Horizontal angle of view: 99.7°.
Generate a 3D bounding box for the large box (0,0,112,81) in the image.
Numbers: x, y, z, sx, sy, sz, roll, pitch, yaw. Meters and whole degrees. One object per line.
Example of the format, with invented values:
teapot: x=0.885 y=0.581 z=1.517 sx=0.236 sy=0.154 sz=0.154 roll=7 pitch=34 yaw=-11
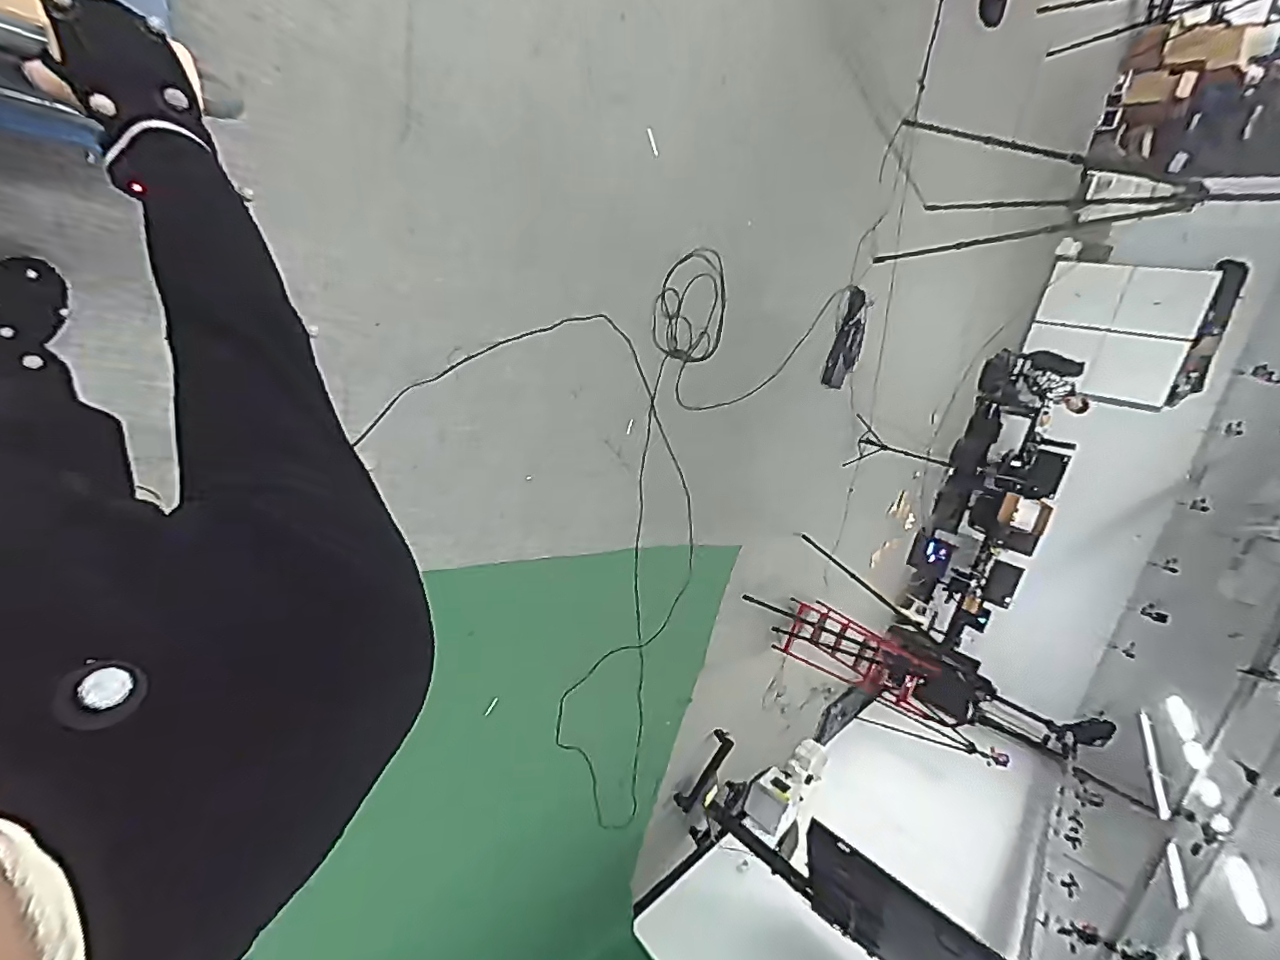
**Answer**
large box: x=-0.881 y=-0.782 z=0.639 sx=0.320 sy=0.320 sz=0.408 roll=-10 pitch=115 yaw=-47
